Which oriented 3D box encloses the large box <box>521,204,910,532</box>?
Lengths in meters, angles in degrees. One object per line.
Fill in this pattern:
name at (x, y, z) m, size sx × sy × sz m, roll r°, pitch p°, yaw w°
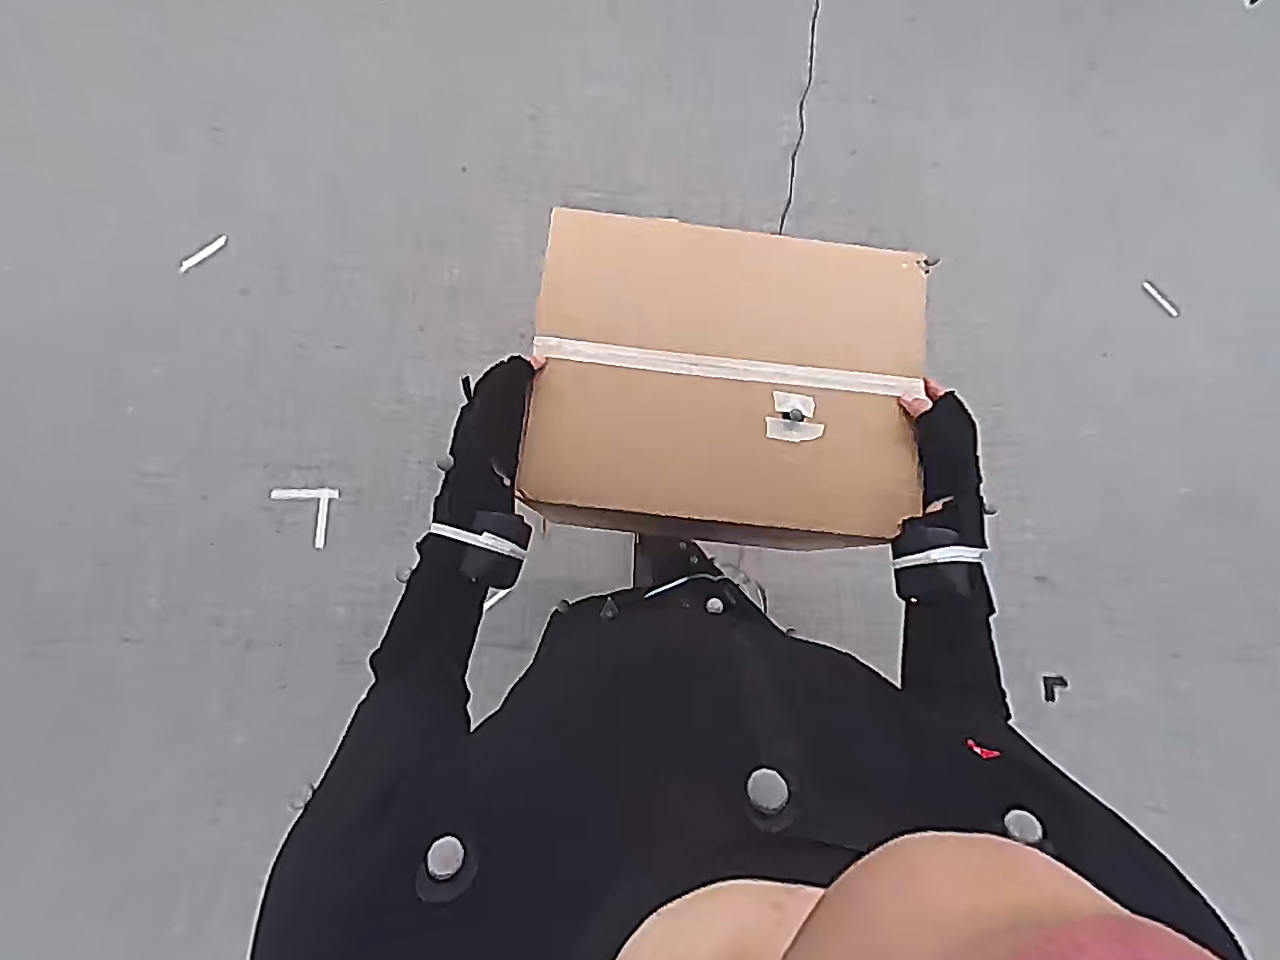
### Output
large box at (0.079, -0.109, 0.718) m, size 0.408 × 0.320 × 0.320 m, roll 7°, pitch 82°, yaw -3°
